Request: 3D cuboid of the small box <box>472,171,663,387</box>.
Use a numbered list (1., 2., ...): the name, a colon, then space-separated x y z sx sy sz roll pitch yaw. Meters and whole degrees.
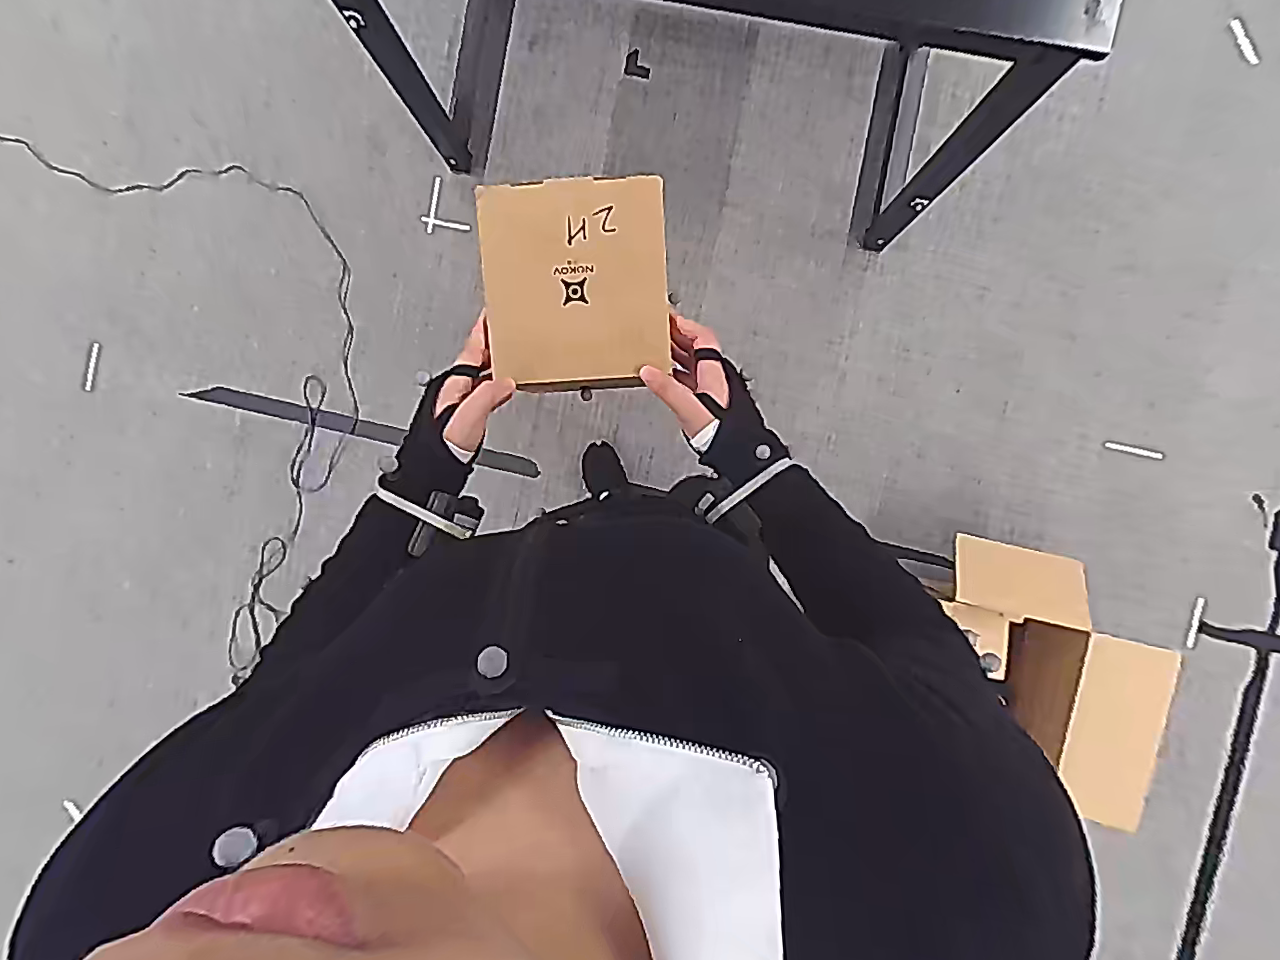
1. small box: -0.062 -0.188 0.559 0.168 0.176 0.179 -3 96 0
